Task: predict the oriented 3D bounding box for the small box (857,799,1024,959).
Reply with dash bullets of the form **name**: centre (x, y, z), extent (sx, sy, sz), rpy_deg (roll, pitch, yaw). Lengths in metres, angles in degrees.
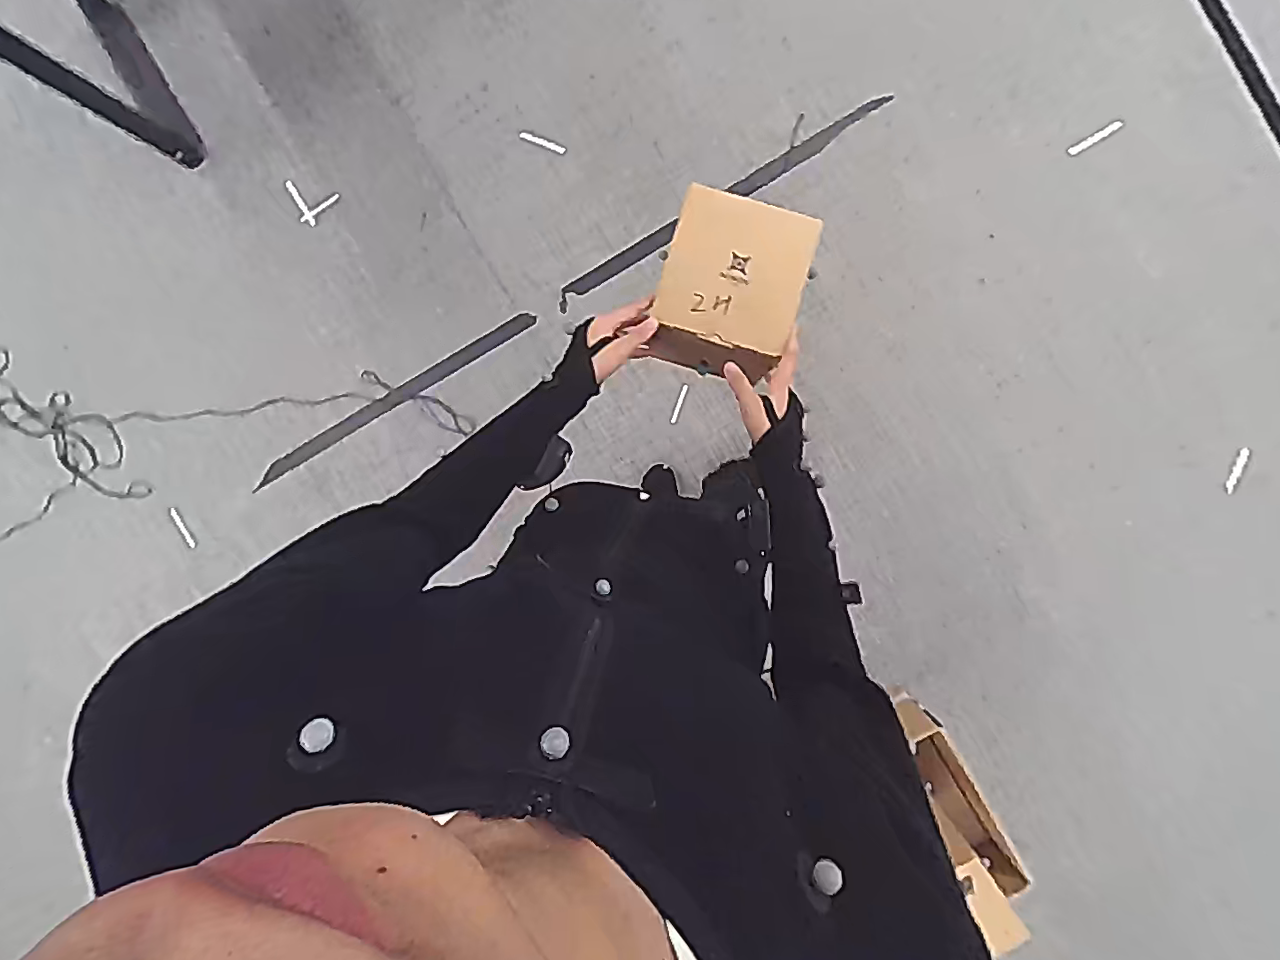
- **small box**: centre (0.529, 0.722, 0.981), extent (0.168, 0.176, 0.179), rpy_deg (-34, 93, 4)
